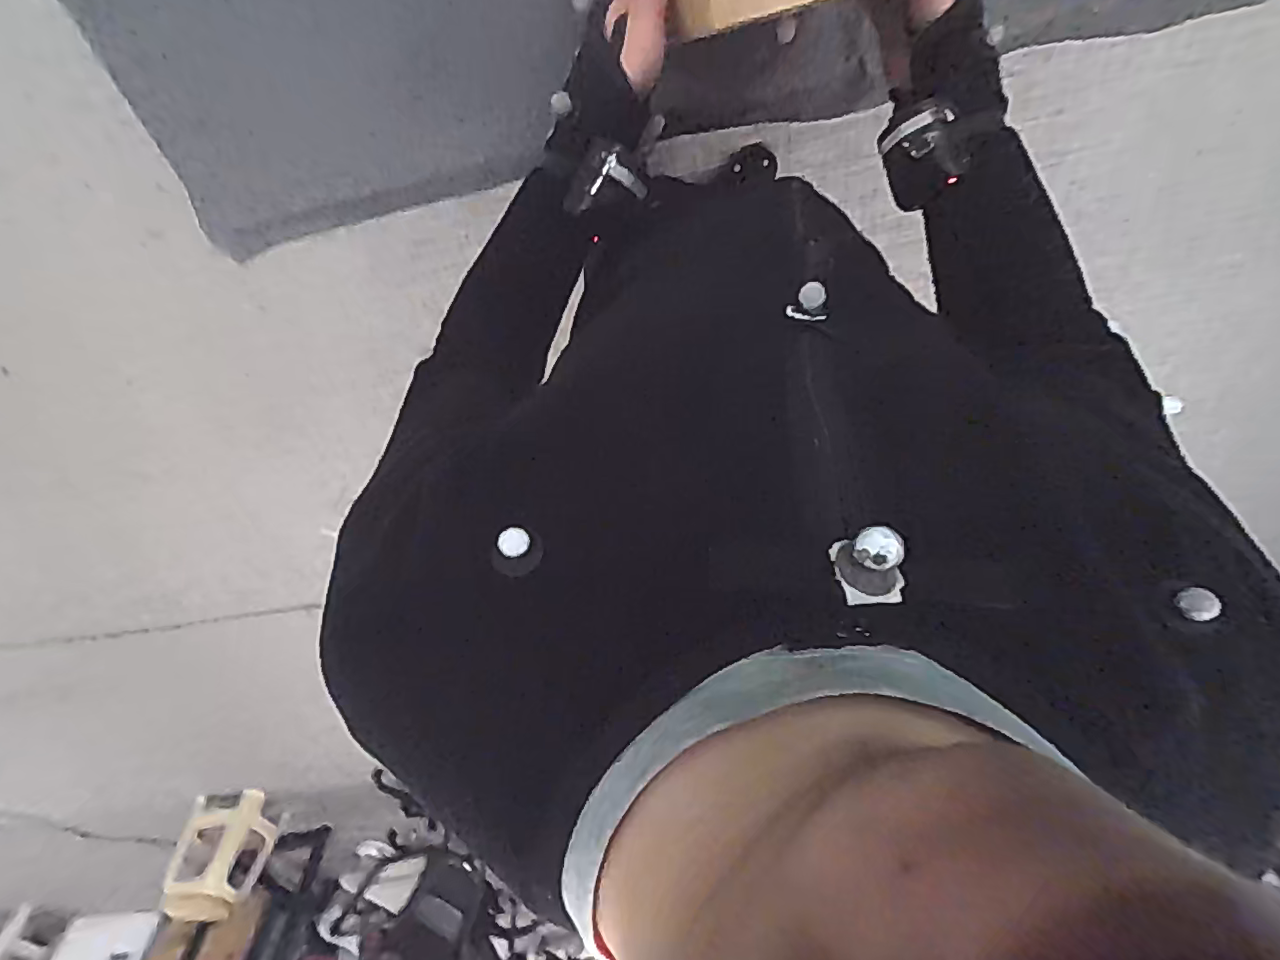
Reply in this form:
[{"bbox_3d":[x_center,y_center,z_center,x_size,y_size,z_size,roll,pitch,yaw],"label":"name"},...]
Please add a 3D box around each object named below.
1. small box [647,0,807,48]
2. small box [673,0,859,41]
[{"bbox_3d":[0.083,-0.477,0.437,0.168,0.176,0.179,-13,124,4],"label":"small box"},{"bbox_3d":[0.097,-0.380,0.304,0.168,0.176,0.179,-12,126,4],"label":"small box"}]
